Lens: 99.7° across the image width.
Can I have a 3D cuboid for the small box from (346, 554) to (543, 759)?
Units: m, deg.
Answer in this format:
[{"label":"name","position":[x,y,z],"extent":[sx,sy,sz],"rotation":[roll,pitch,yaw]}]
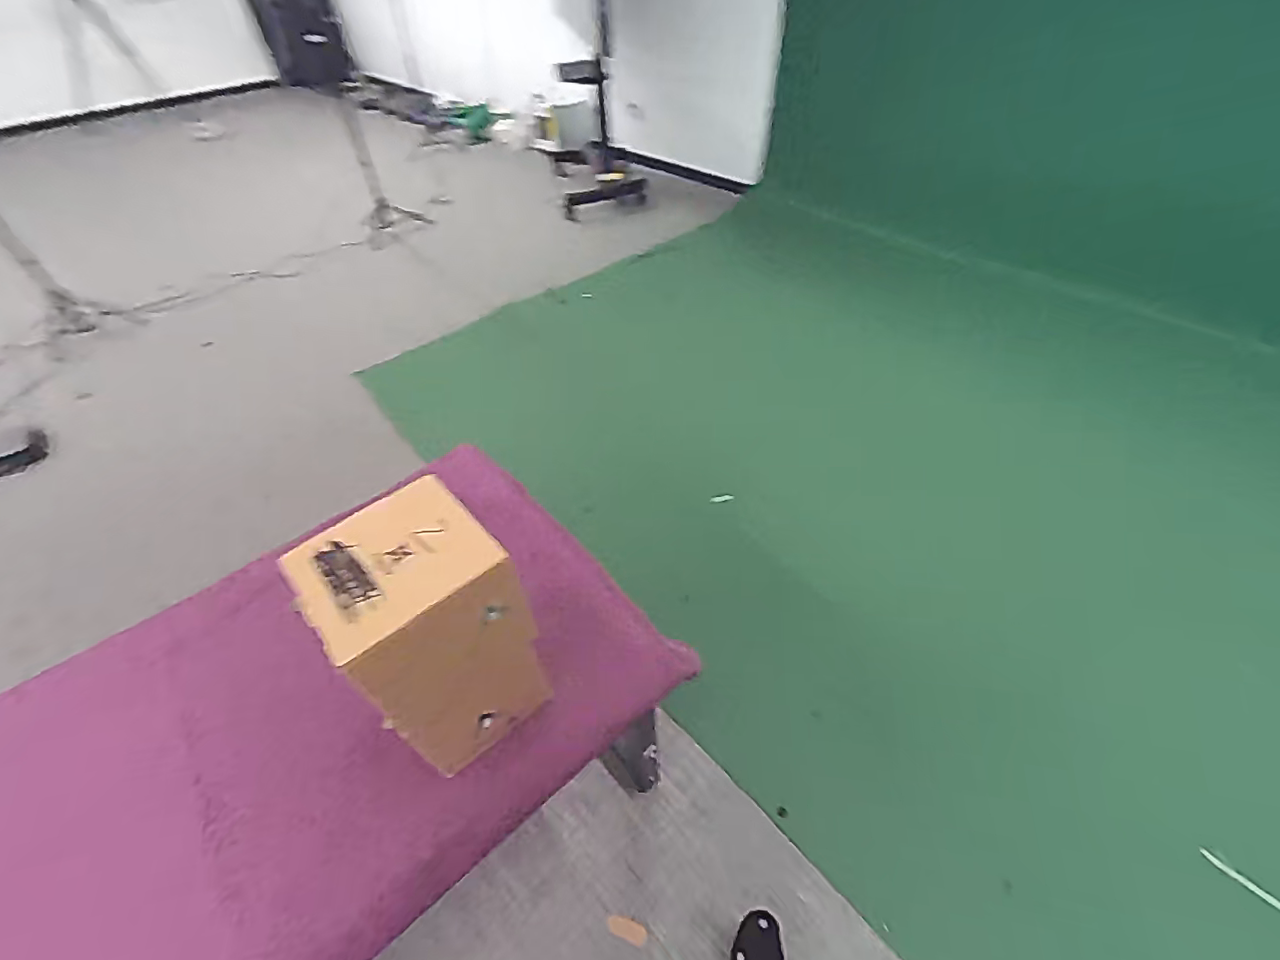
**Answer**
[{"label":"small box","position":[-0.250,0.241,0.724],"extent":[0.168,0.176,0.179],"rotation":[-33,53,-25]}]
